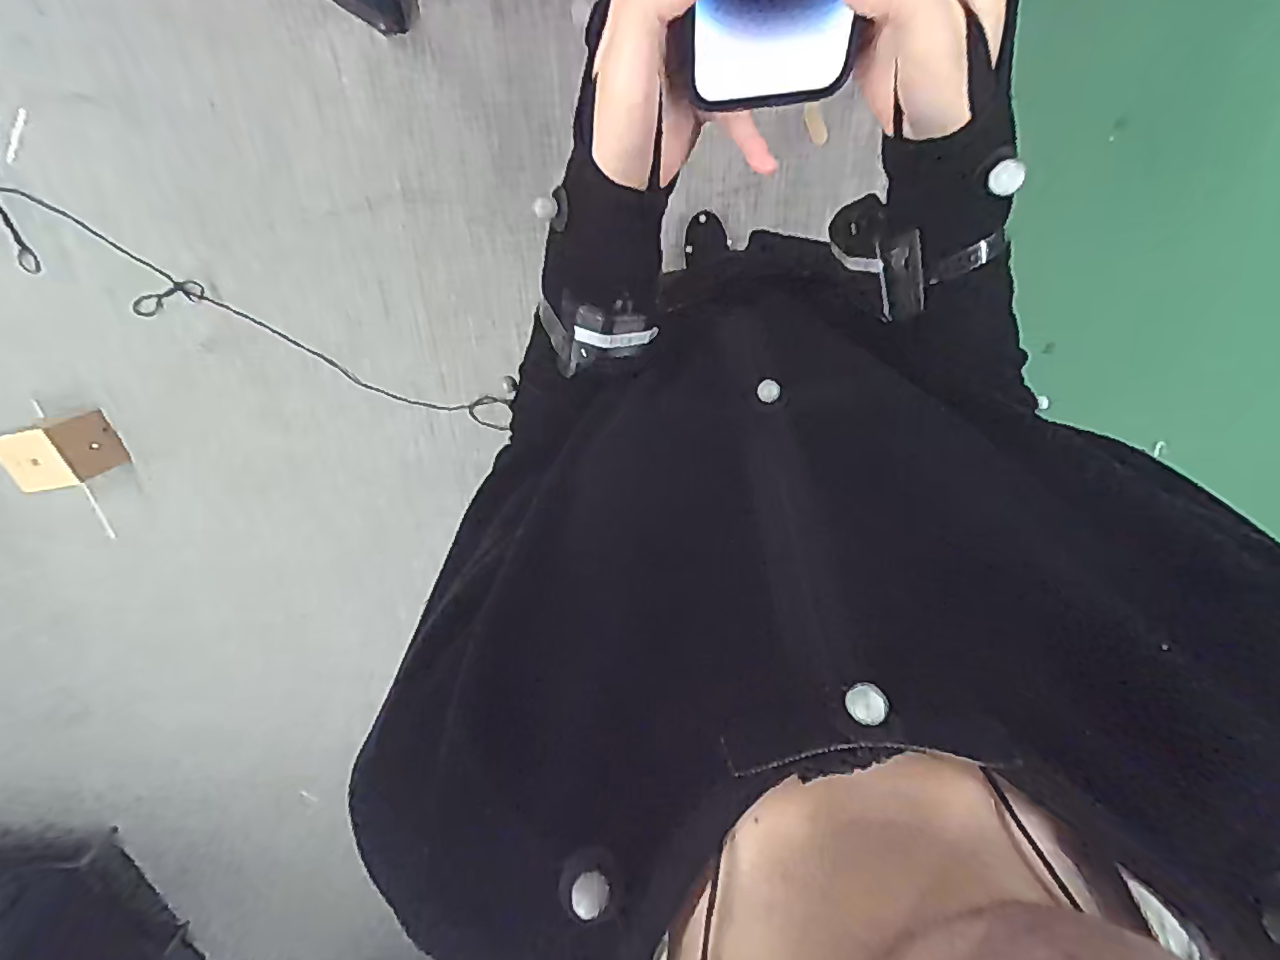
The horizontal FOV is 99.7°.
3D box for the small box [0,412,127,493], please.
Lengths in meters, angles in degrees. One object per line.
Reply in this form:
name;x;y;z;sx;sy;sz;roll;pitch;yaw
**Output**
small box;-1.606;-0.081;1.513;0.179;0.176;0.168;-7;116;6
